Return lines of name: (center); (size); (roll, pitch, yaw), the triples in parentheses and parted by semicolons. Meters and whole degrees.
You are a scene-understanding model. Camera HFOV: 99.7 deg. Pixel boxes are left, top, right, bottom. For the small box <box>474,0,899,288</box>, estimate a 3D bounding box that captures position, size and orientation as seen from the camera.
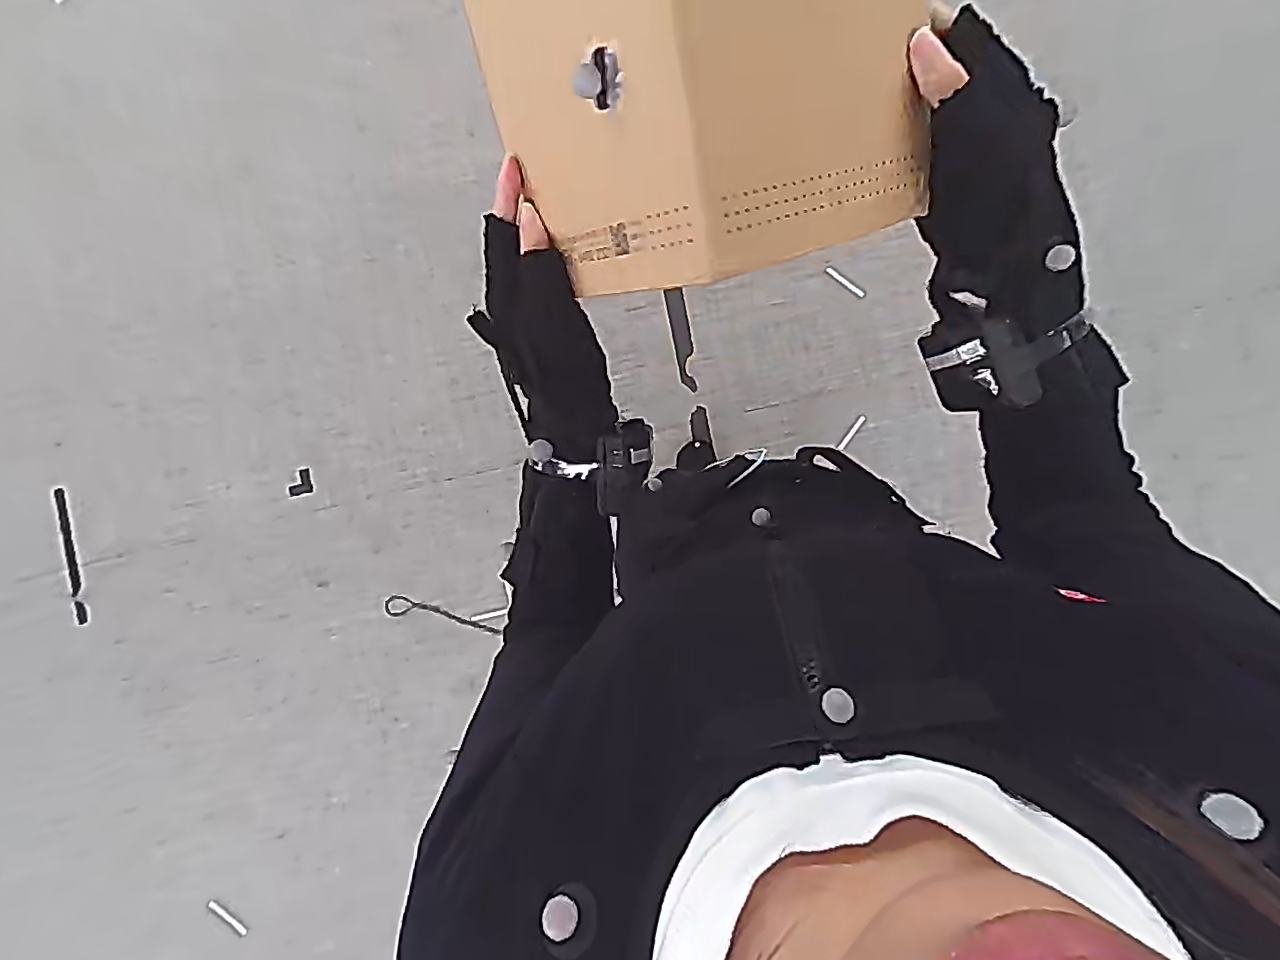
small box: (0.033, -0.215, 0.318); (0.179, 0.168, 0.176); (-26, 117, -26)
